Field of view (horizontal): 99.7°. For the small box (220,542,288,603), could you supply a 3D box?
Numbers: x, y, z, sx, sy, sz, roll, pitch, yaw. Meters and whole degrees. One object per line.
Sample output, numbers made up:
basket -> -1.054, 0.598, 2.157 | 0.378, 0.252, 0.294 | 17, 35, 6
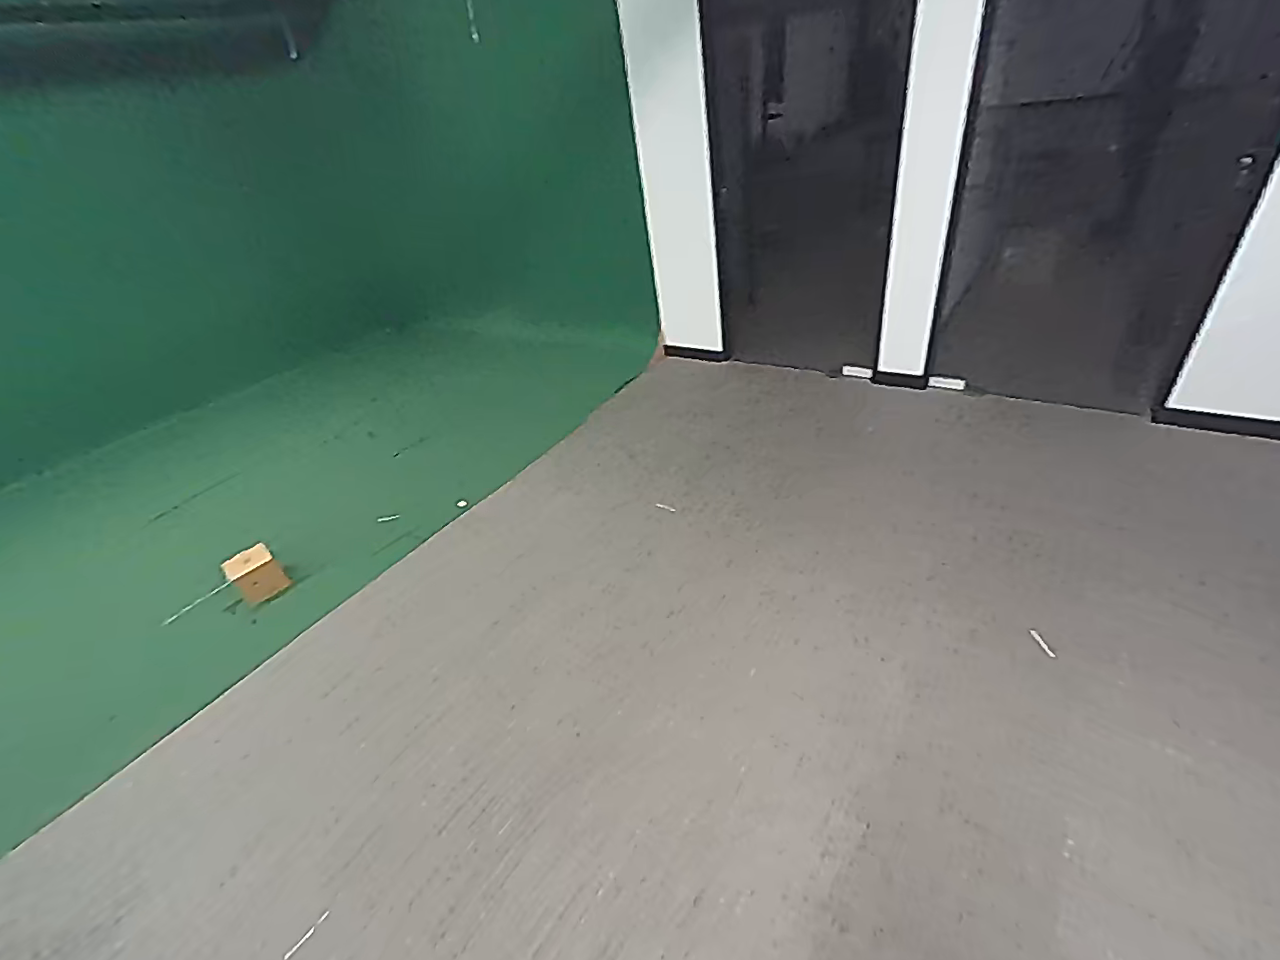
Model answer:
small box -> -1.675, 0.407, 2.350 | 0.179, 0.176, 0.168 | 24, 47, 38
